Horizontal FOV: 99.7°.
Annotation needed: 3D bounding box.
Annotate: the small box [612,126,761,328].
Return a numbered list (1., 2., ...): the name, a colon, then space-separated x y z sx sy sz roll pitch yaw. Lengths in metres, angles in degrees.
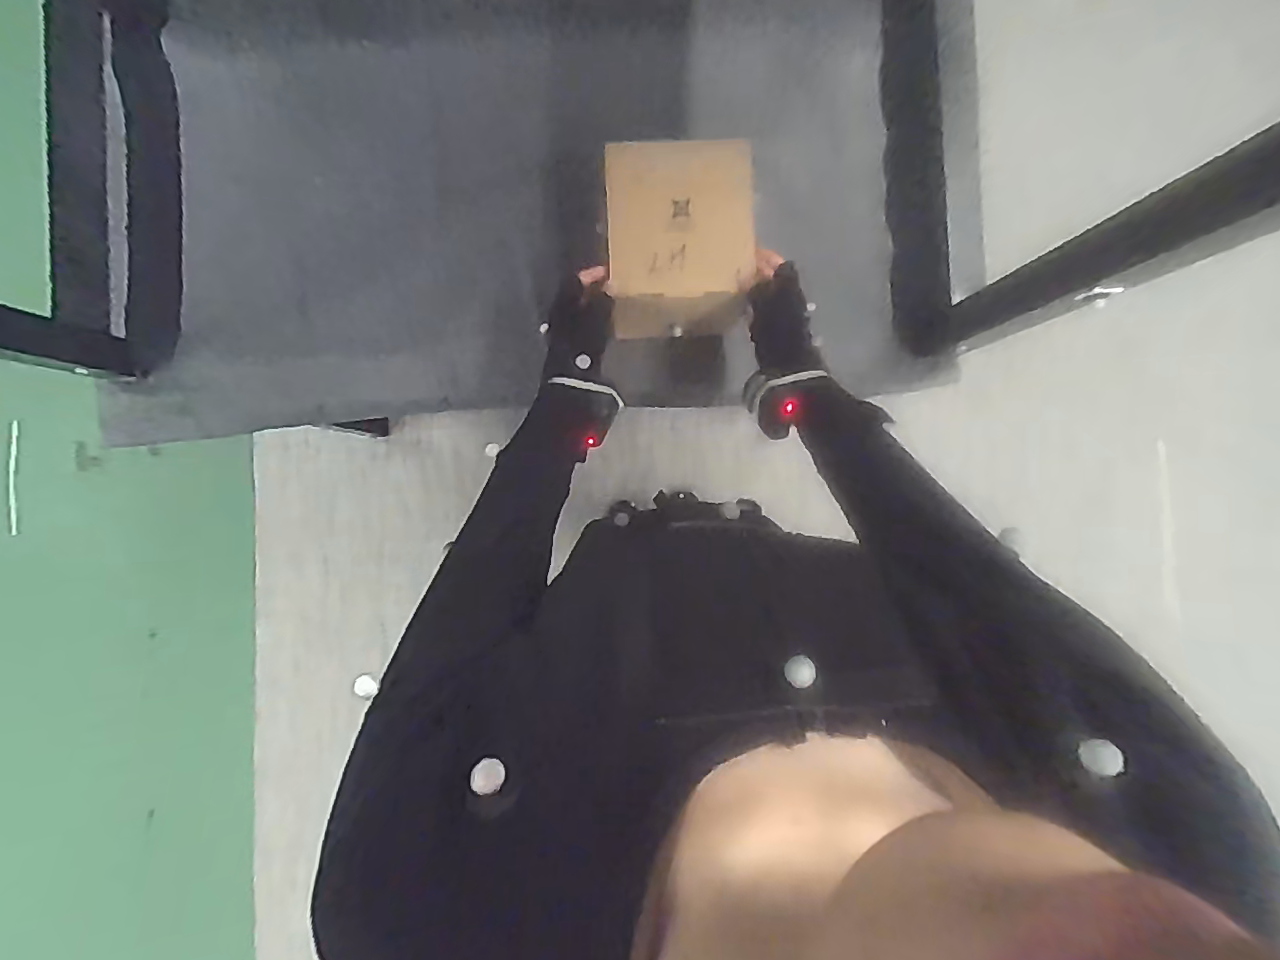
1. small box: 0.049 -0.303 0.676 0.168 0.176 0.179 -2 89 0
